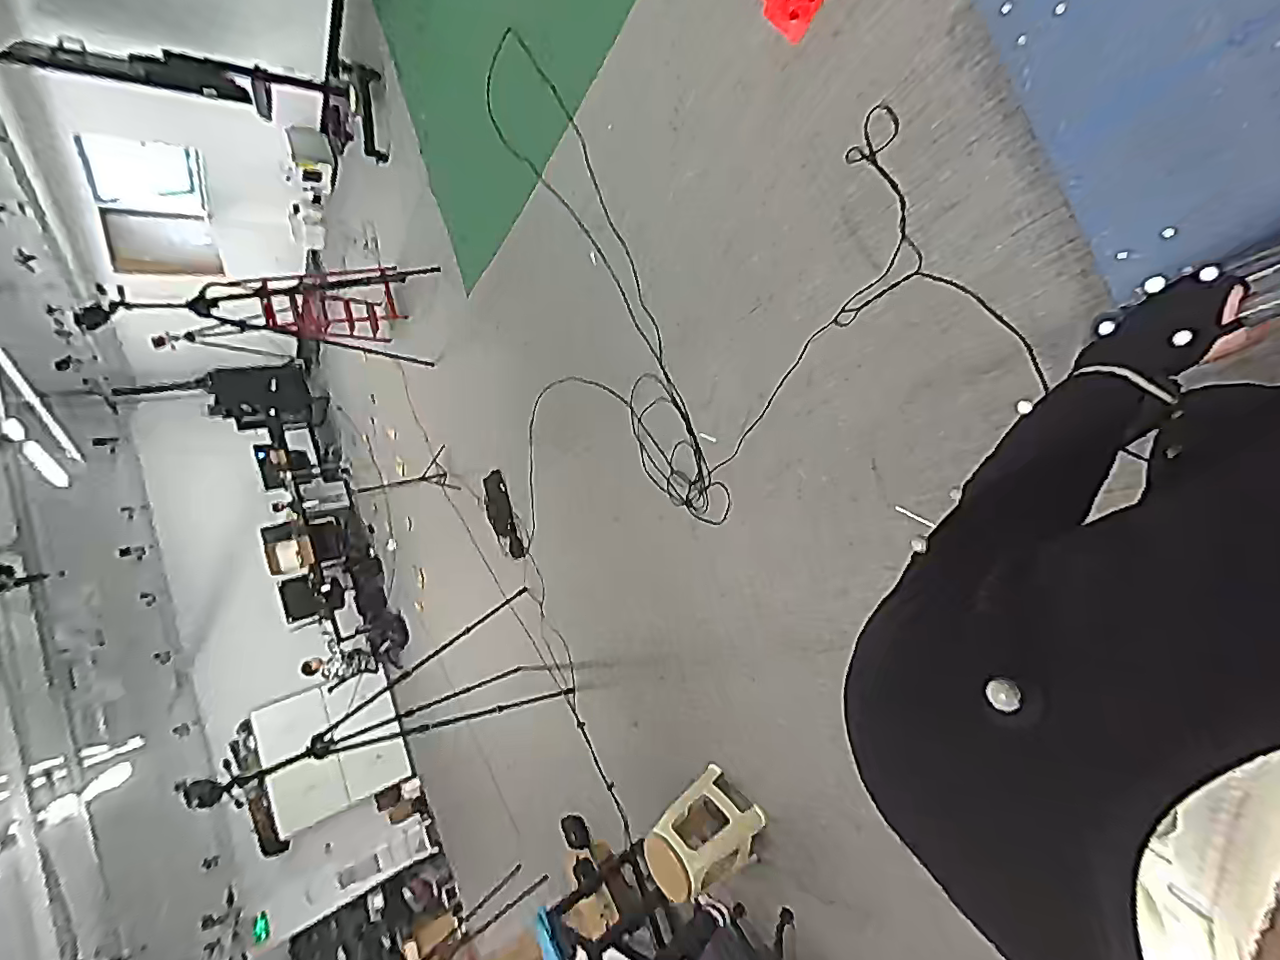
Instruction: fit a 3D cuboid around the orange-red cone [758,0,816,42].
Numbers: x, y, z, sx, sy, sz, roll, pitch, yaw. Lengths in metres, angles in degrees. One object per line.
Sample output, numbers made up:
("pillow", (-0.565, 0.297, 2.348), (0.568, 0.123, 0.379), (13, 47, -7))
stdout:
("orange-red cone", (0.326, -1.428, 1.514), (0.198, 0.360, 0.199), (61, 141, 18))
